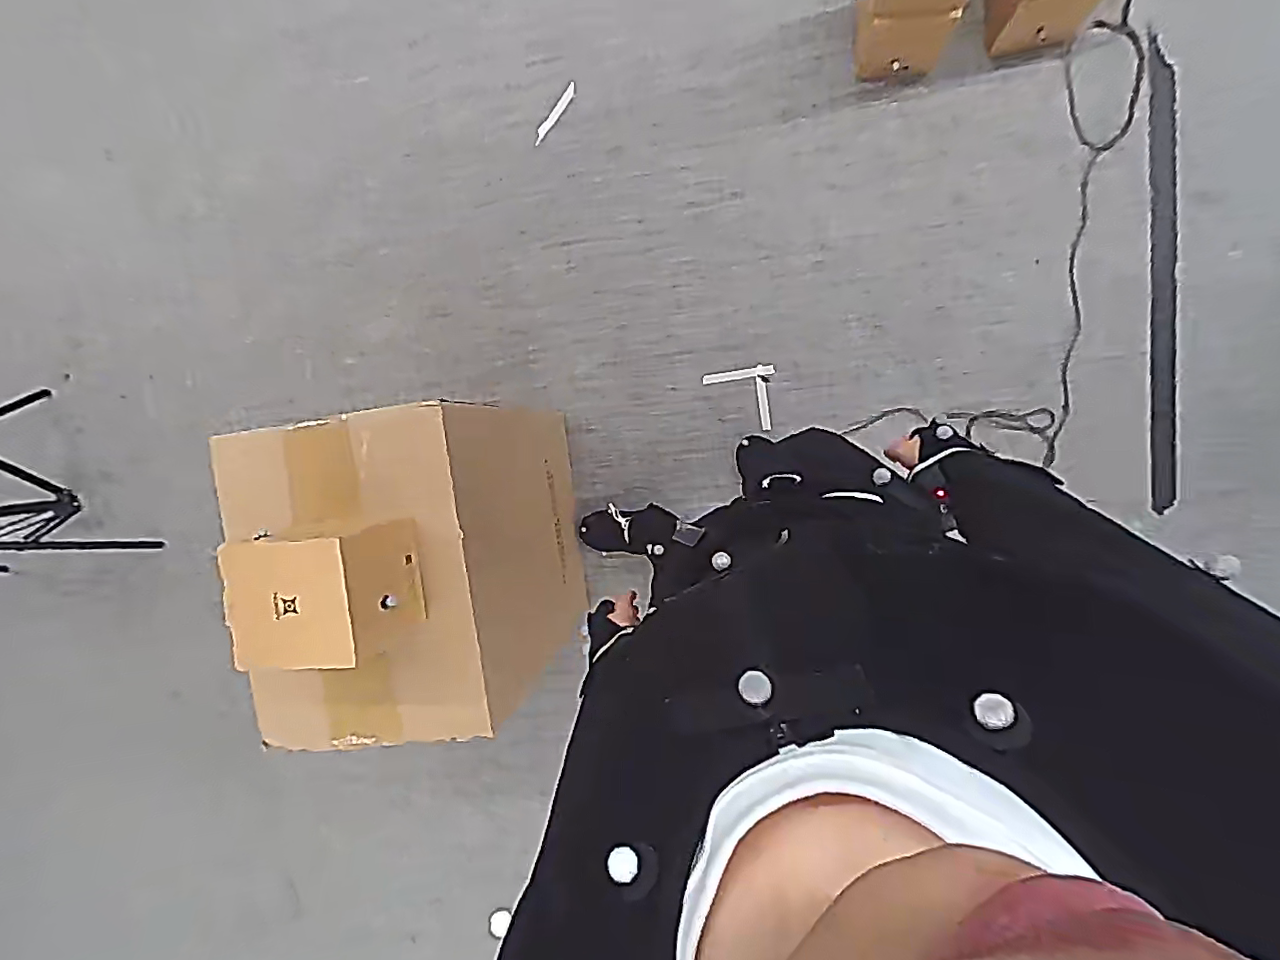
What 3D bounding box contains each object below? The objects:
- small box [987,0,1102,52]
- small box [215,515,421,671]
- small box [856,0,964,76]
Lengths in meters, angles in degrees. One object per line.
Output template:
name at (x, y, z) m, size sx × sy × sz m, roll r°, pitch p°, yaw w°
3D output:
small box at (0.816, -1.013, 1.077) m, size 0.168 × 0.176 × 0.179 m, roll -3°, pitch 95°, yaw 11°
small box at (-0.420, 0.145, 0.738) m, size 0.179 × 0.176 × 0.168 m, roll -5°, pitch 95°, yaw 9°
small box at (0.556, -0.988, 1.122) m, size 0.168 × 0.176 × 0.179 m, roll 2°, pitch 97°, yaw 10°
